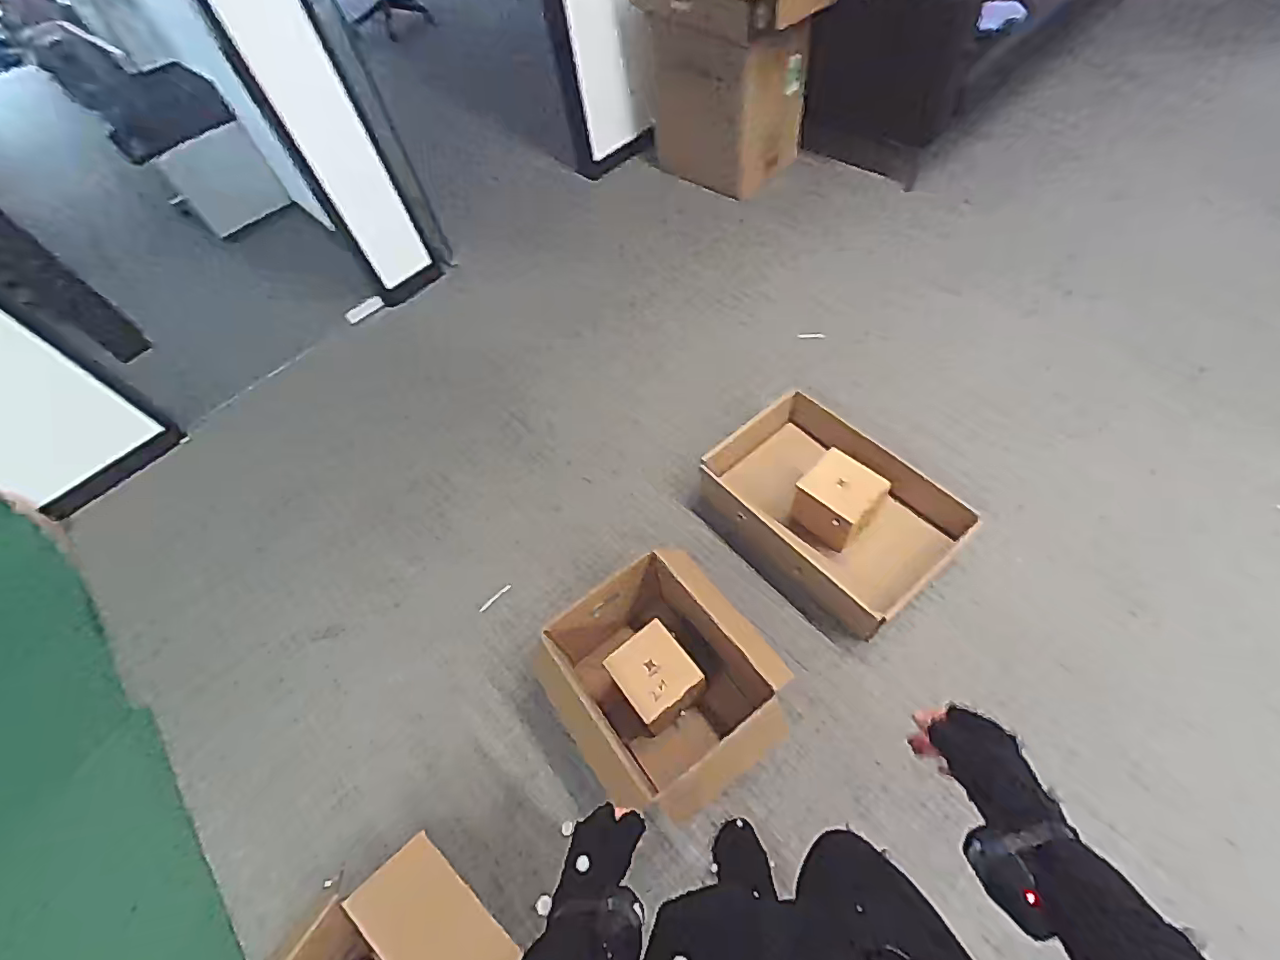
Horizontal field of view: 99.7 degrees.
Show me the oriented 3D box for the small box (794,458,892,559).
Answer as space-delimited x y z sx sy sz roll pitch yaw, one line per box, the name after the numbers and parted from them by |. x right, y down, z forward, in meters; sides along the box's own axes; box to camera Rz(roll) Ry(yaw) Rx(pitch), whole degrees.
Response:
0.535 0.080 1.454 0.168 0.176 0.179 -41 60 -19 | small box
